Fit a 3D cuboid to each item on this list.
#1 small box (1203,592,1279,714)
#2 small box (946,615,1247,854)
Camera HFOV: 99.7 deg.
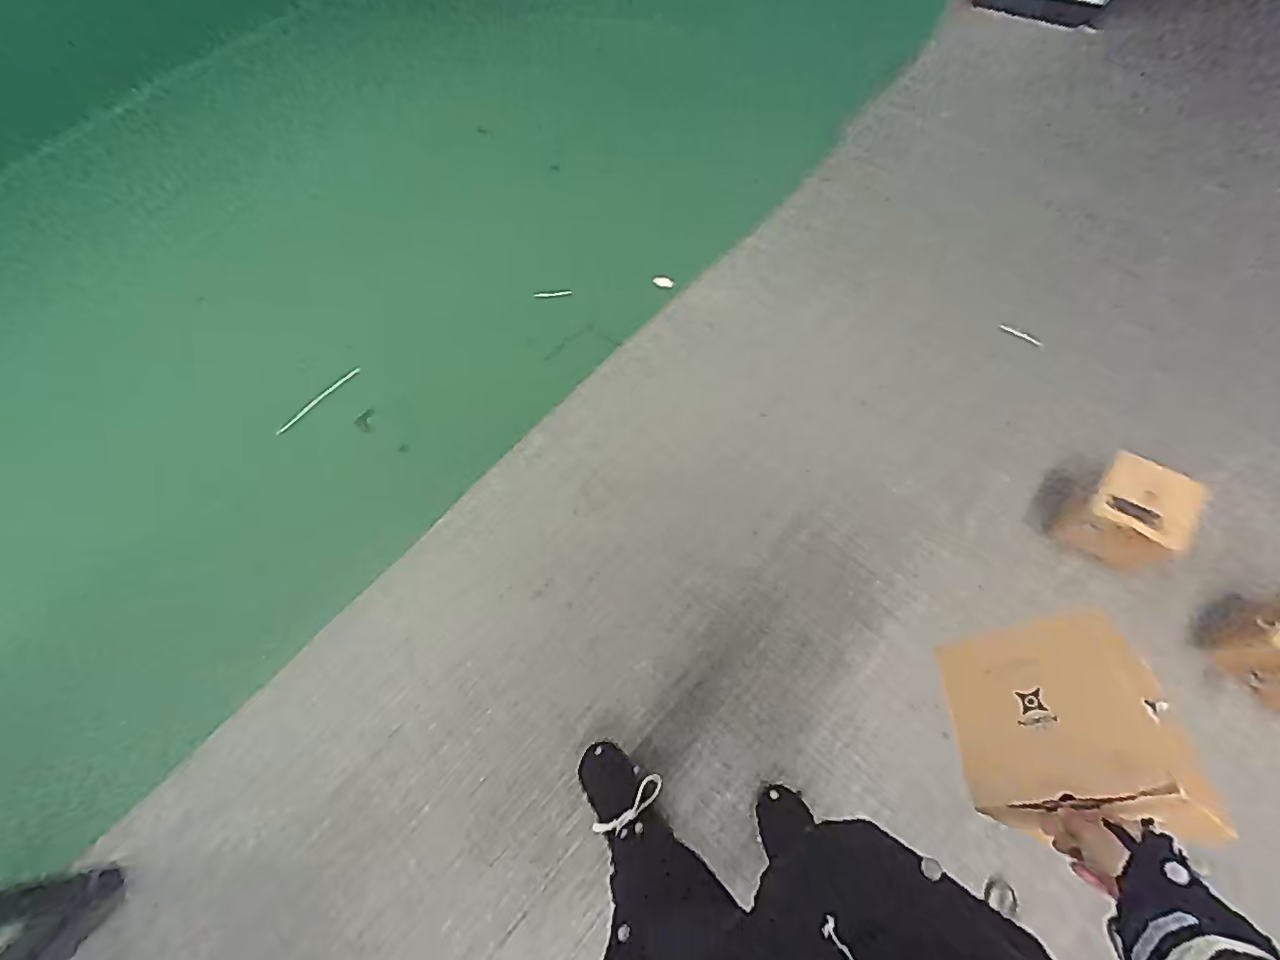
[{"bbox_3d":[1.241,0.318,1.014,0.179,0.176,0.168,-36,65,-9],"label":"small box"},{"bbox_3d":[0.460,0.272,0.562,0.168,0.176,0.179,-33,32,37],"label":"small box"}]
